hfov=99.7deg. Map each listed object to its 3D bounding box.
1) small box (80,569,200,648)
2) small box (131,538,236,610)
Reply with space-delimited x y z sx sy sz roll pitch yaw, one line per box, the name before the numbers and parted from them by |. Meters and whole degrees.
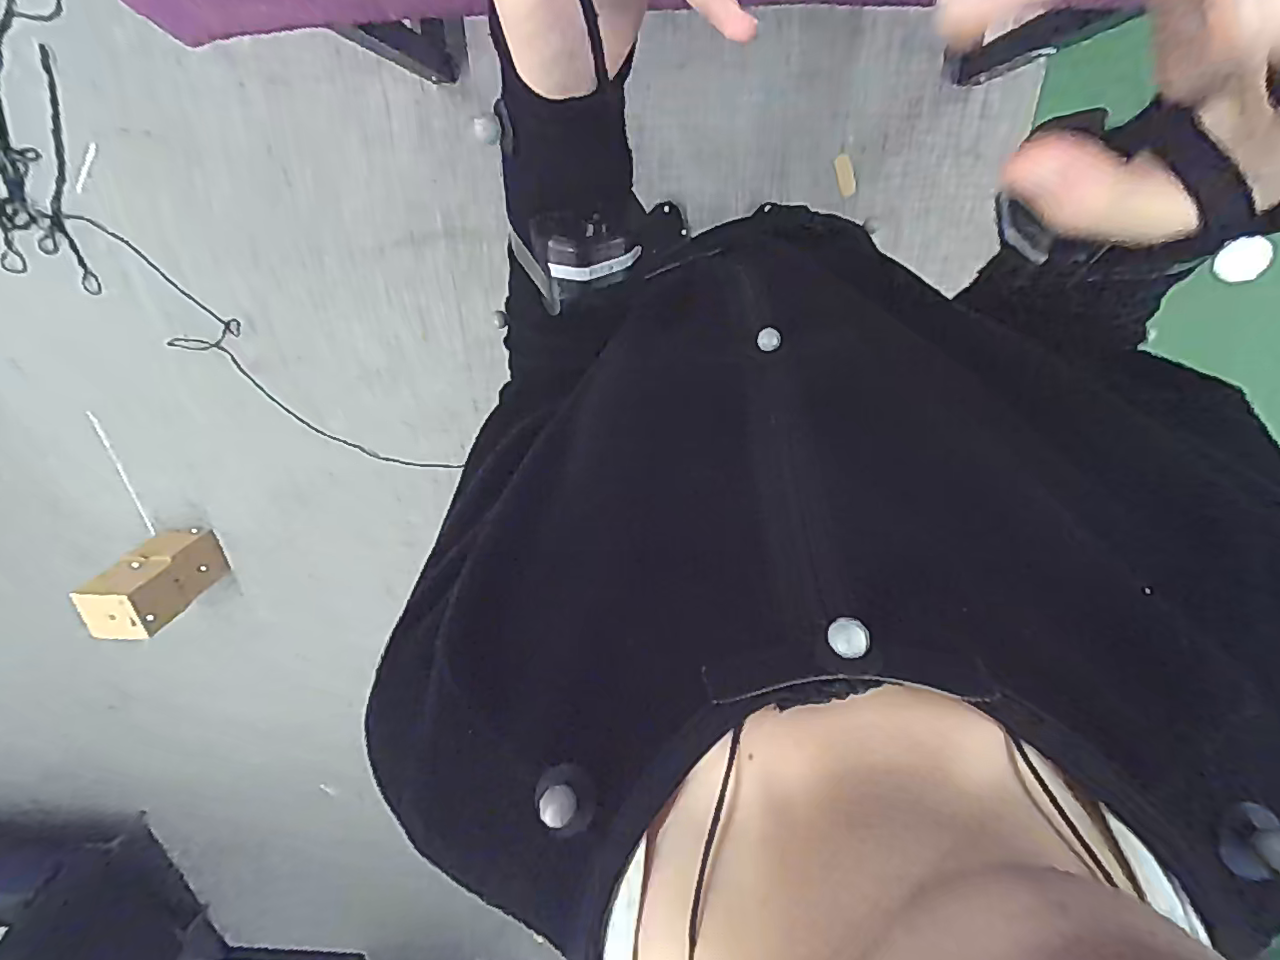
small box | -1.491 0.381 1.624 0.179 0.176 0.168 1 117 5
small box | -1.481 0.302 1.768 0.168 0.176 0.179 0 117 5
